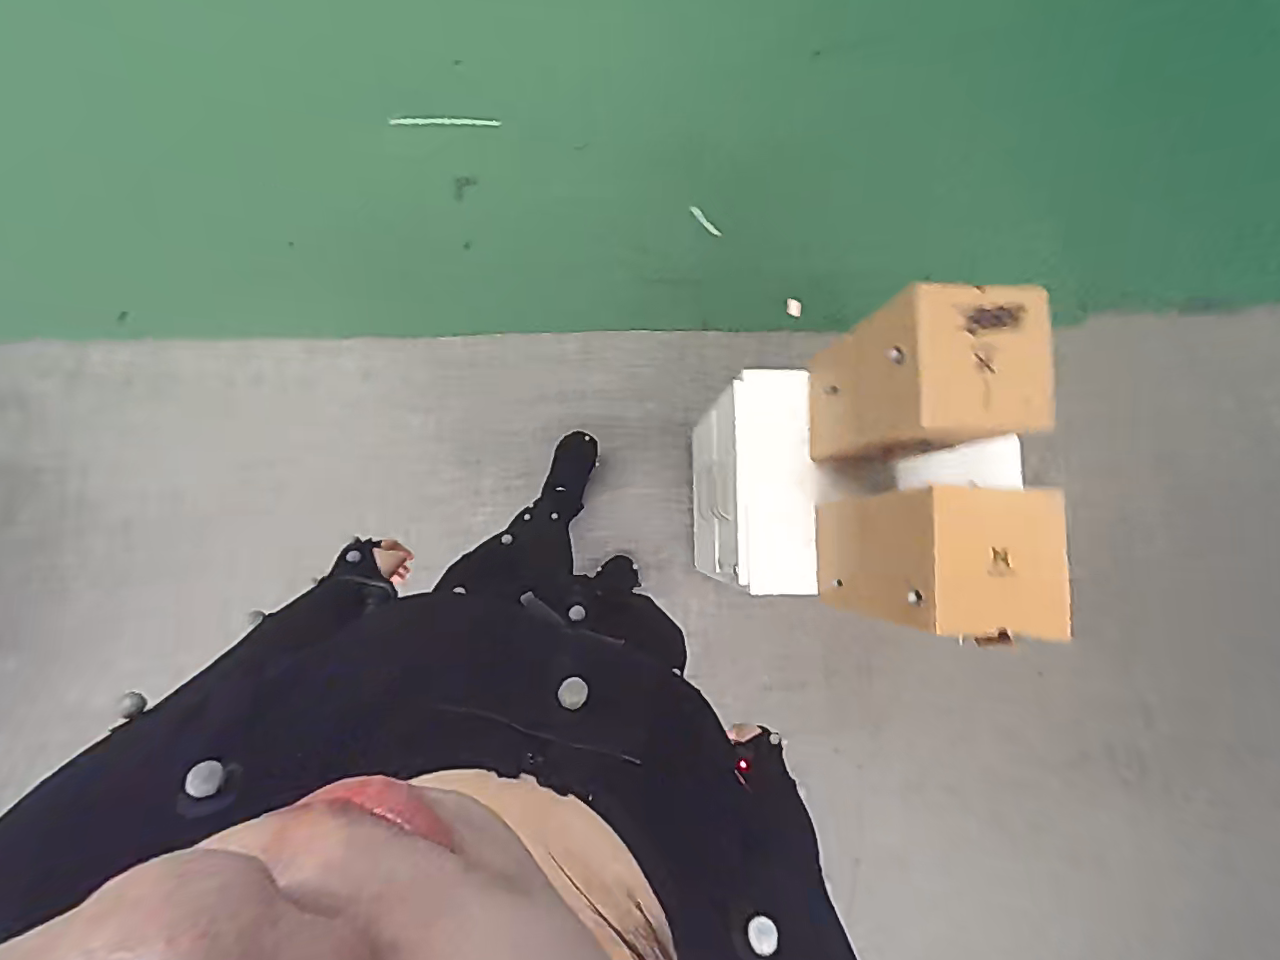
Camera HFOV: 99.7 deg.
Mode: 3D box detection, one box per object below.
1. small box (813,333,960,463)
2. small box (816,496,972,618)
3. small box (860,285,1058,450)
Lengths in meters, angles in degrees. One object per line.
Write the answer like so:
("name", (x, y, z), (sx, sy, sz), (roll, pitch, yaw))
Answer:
("small box", (0.393, -0.126, 0.886), (0.168, 0.176, 0.179), (1, 86, -3))
("small box", (0.394, 0.120, 0.865), (0.168, 0.176, 0.179), (1, 83, -5))
("small box", (0.409, -0.139, 0.721), (0.168, 0.176, 0.179), (1, 87, -4))
